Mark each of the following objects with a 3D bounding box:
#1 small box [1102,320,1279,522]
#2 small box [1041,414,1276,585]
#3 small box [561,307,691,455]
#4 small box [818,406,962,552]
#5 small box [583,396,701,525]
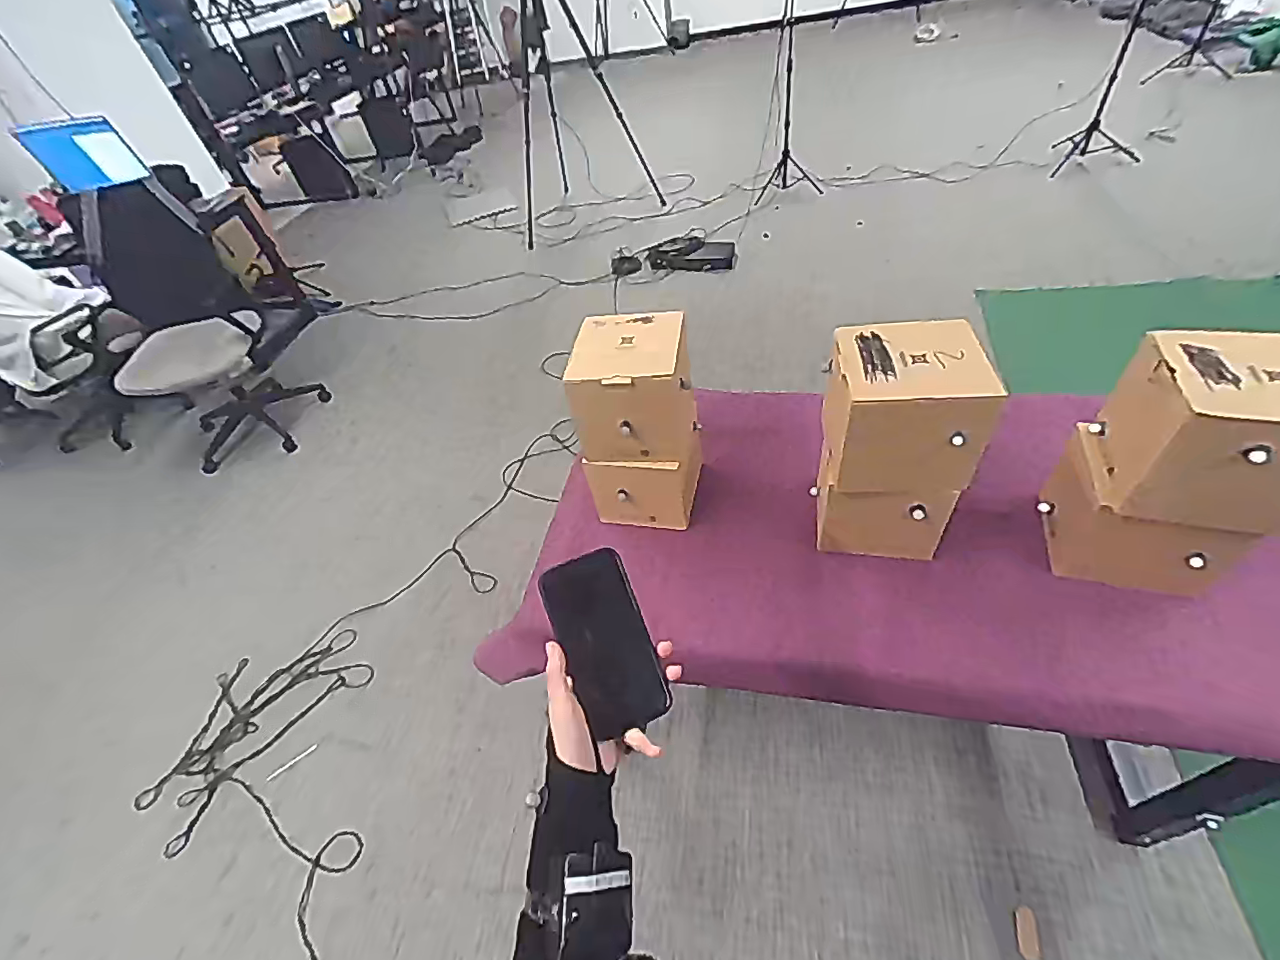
[{"bbox_3d":[0.690,-0.069,0.639,0.179,0.176,0.168,8,49,19],"label":"small box"},{"bbox_3d":[0.710,0.030,0.768,0.179,0.176,0.168,8,49,20],"label":"small box"},{"bbox_3d":[-0.010,-0.153,0.870,0.168,0.176,0.179,0,48,12],"label":"small box"},{"bbox_3d":[0.386,0.000,0.866,0.179,0.176,0.168,3,48,15],"label":"small box"},{"bbox_3d":[0.014,-0.036,0.983,0.168,0.176,0.179,4,48,16],"label":"small box"}]
